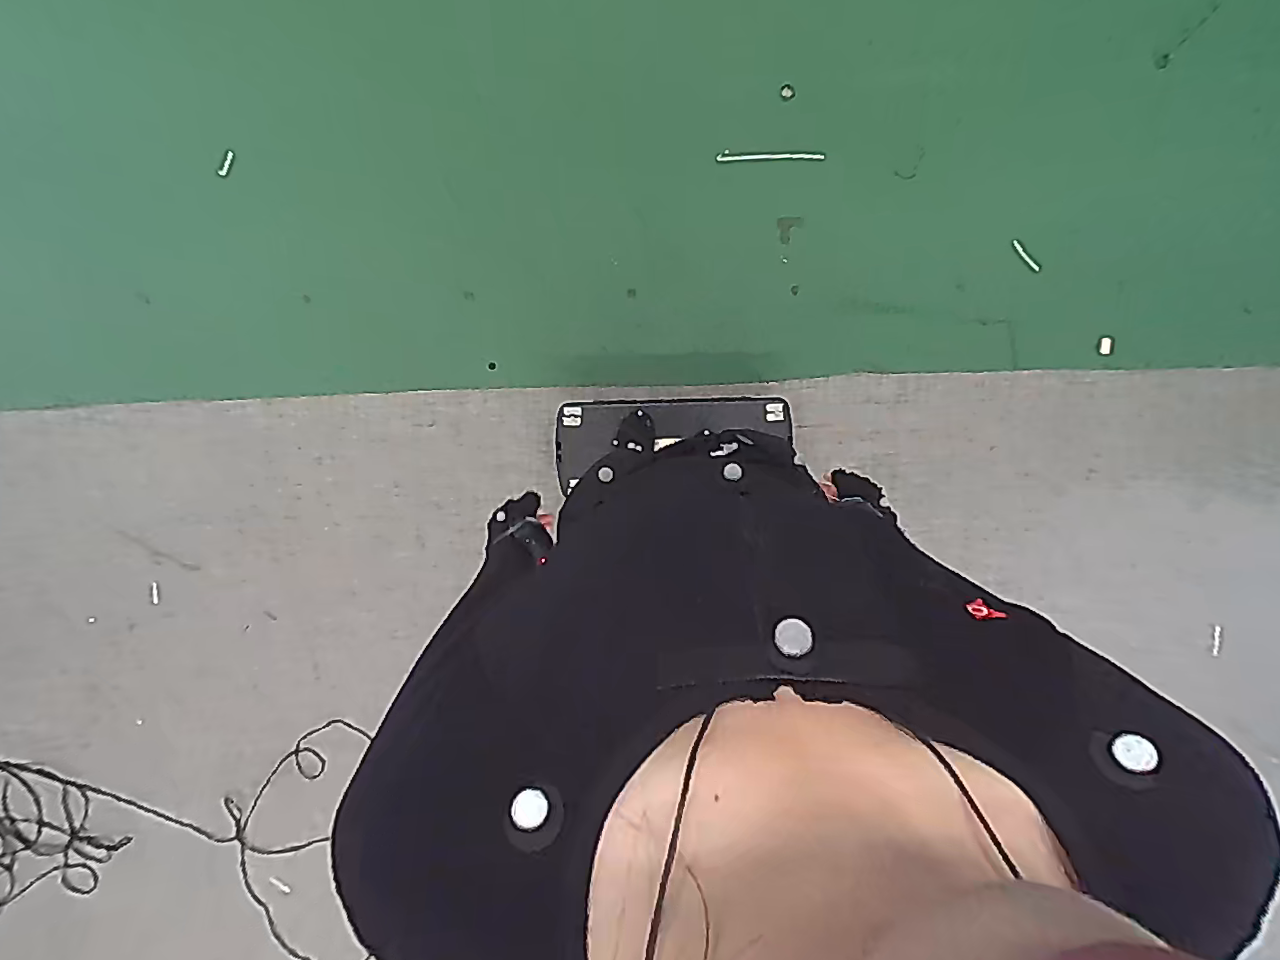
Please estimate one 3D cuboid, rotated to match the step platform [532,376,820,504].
[{"bbox_3d":[0.085,-0.104,1.372,0.684,0.204,0.286,-2,97,1],"label":"step platform"}]
